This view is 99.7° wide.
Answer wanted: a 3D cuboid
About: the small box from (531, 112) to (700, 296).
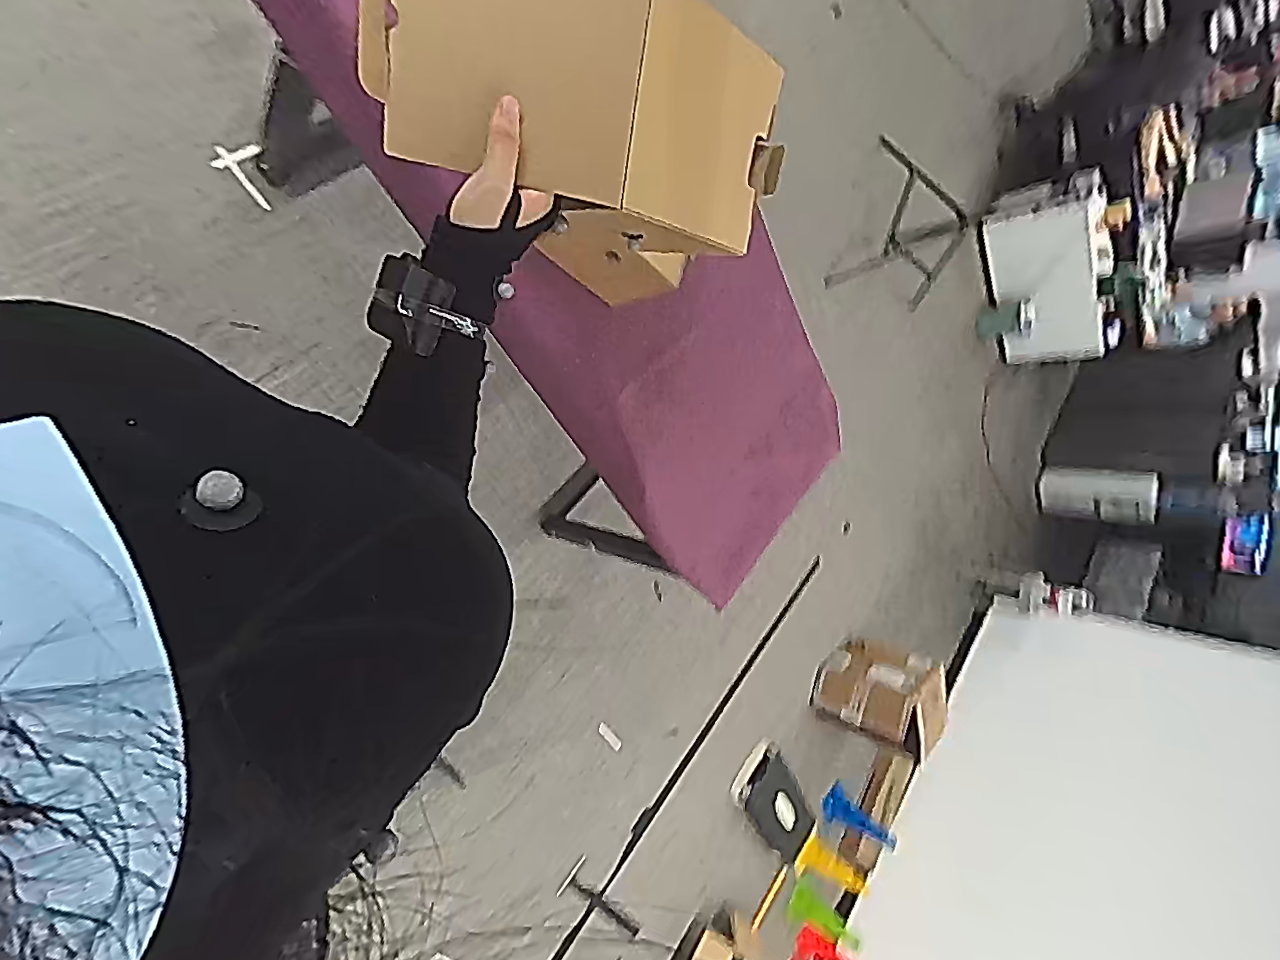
[{"bbox_3d":[-0.042,-0.412,0.848,0.179,0.176,0.168,28,77,-38],"label":"small box"}]
